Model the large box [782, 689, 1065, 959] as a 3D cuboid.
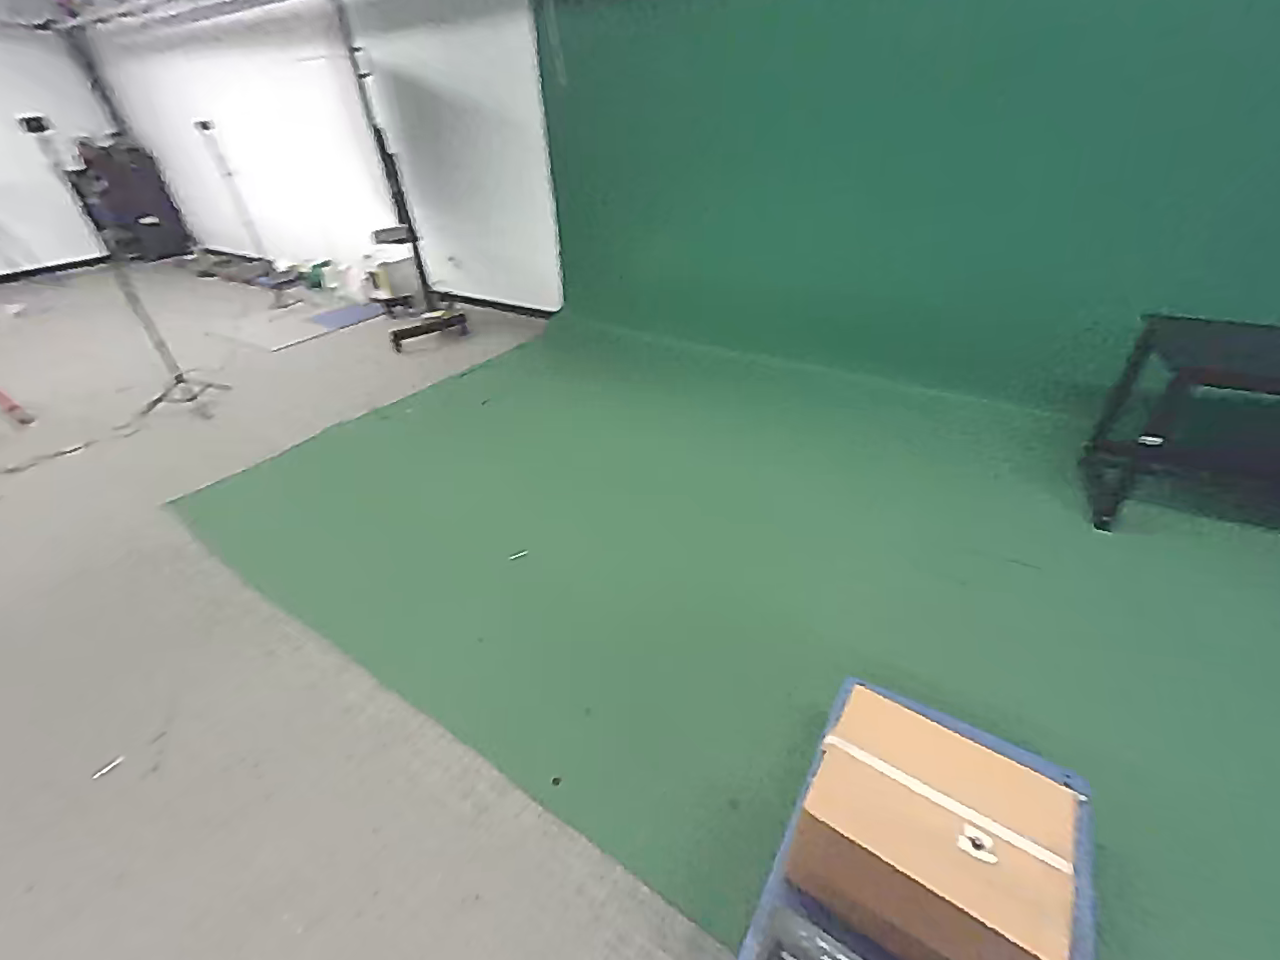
[{"bbox_3d":[0.548,0.714,1.089,0.408,0.320,0.320,22,41,29],"label":"large box"}]
